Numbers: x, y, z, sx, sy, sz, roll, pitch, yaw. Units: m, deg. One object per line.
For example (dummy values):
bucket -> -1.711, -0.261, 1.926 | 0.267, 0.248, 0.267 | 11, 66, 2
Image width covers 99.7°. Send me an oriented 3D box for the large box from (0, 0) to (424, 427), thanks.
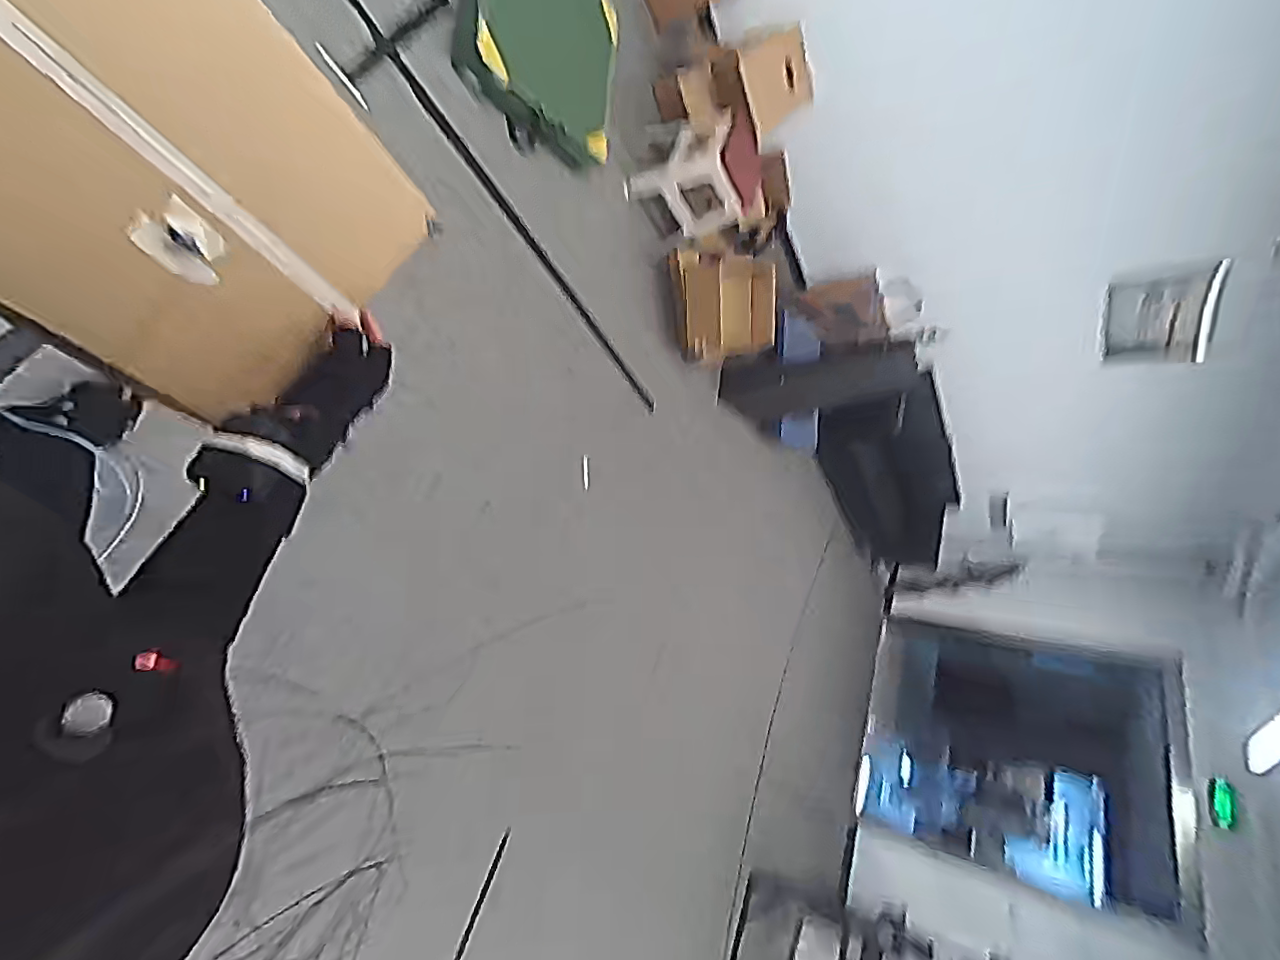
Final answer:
large box -> -0.511, -0.302, 0.499 | 0.320, 0.320, 0.408 | -61, 142, -17
